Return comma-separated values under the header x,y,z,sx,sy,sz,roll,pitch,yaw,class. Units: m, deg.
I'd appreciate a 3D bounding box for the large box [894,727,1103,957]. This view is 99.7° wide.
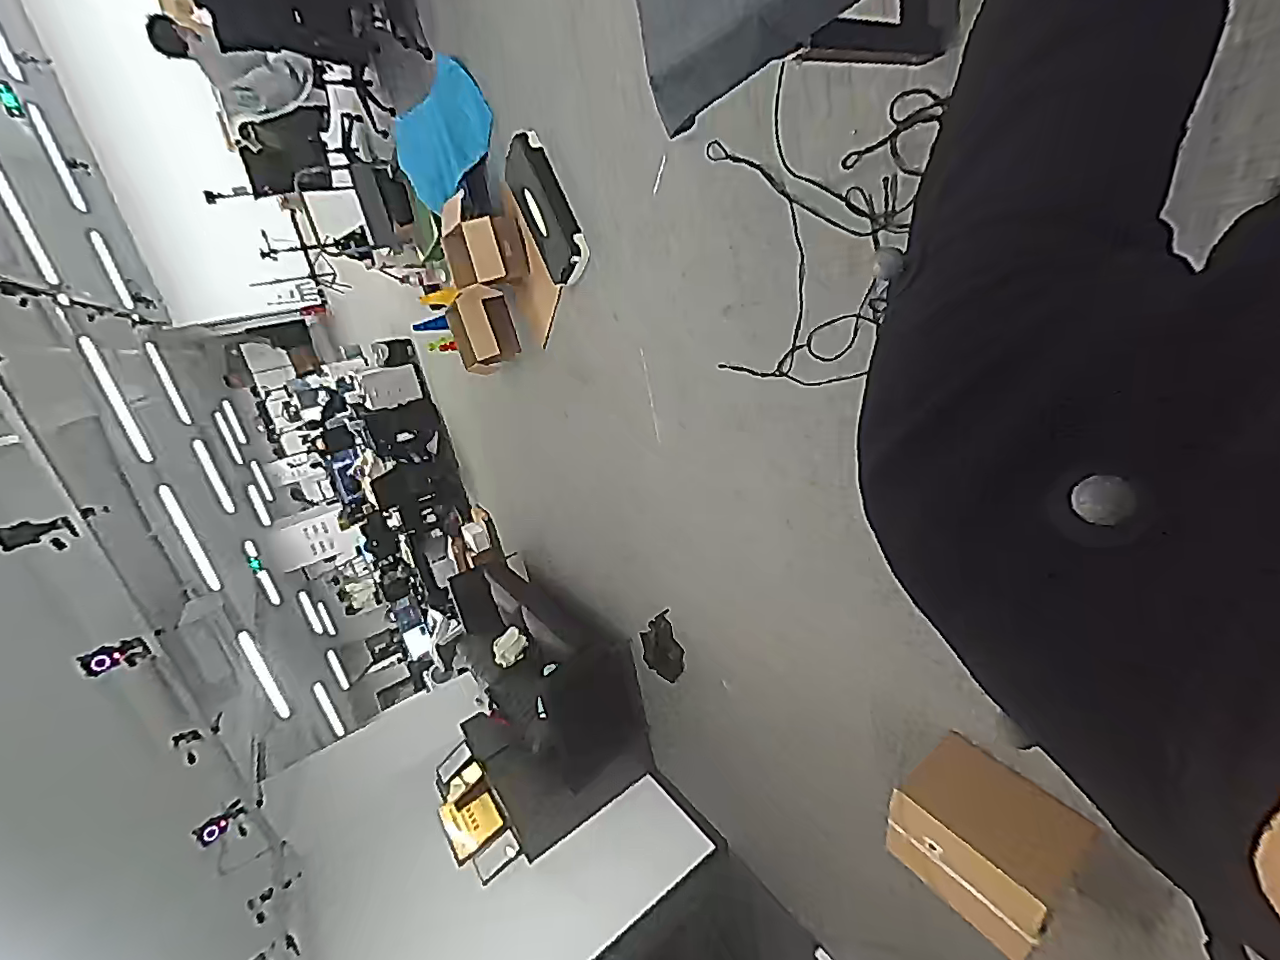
x,y,z,sx,sy,sz,roll,pitch,yaw,class
1.033,1.034,1.593,0.408,0.320,0.320,30,134,50,large box
